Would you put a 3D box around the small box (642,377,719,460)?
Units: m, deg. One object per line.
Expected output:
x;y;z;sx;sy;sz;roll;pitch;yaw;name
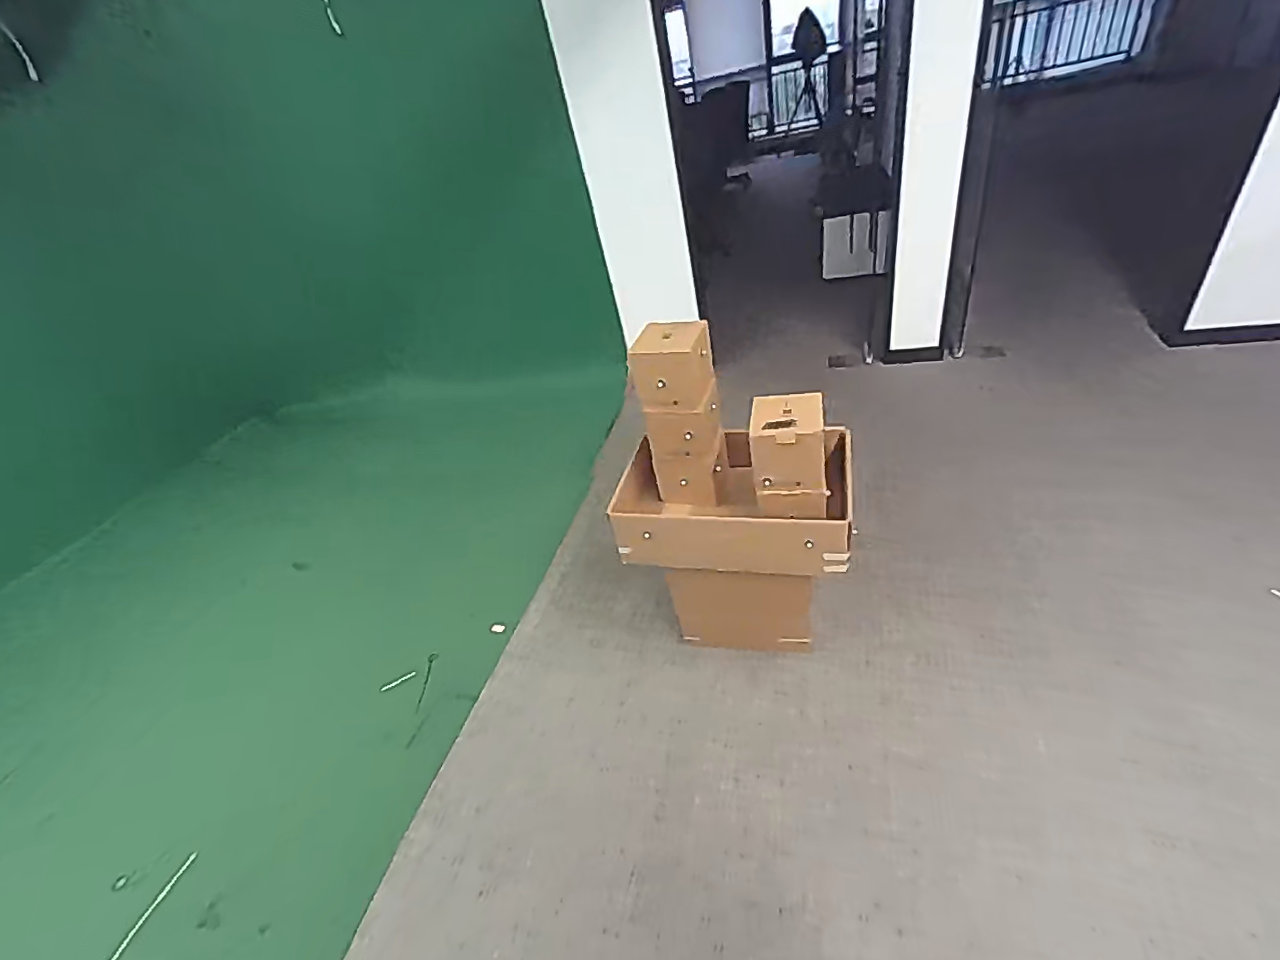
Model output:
0.122;-0.171;1.513;0.168;0.176;0.179;3;40;20;small box

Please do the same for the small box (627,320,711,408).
0.085;-0.301;1.419;0.168;0.176;0.179;5;42;22;small box

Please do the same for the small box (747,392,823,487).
0.361;-0.094;1.328;0.168;0.176;0.179;-1;39;18;small box
